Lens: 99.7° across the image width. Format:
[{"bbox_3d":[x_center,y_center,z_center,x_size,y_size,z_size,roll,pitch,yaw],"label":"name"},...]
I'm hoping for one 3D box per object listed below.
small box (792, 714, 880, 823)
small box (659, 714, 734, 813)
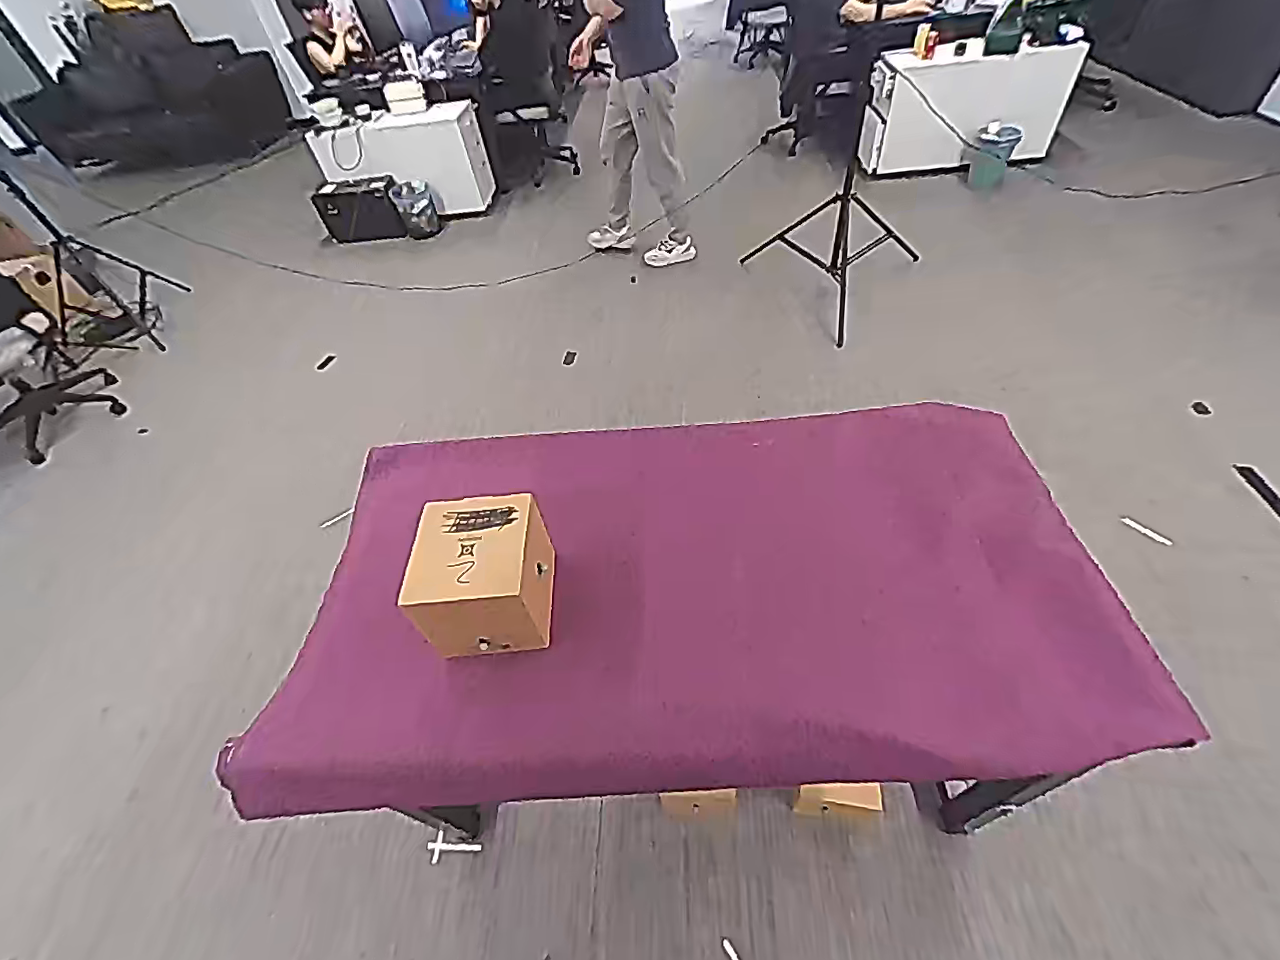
[{"bbox_3d":[0.443,0.668,1.246,0.168,0.176,0.179,3,48,12],"label":"small box"},{"bbox_3d":[0.137,0.674,1.281,0.168,0.176,0.179,-1,48,6],"label":"small box"}]
